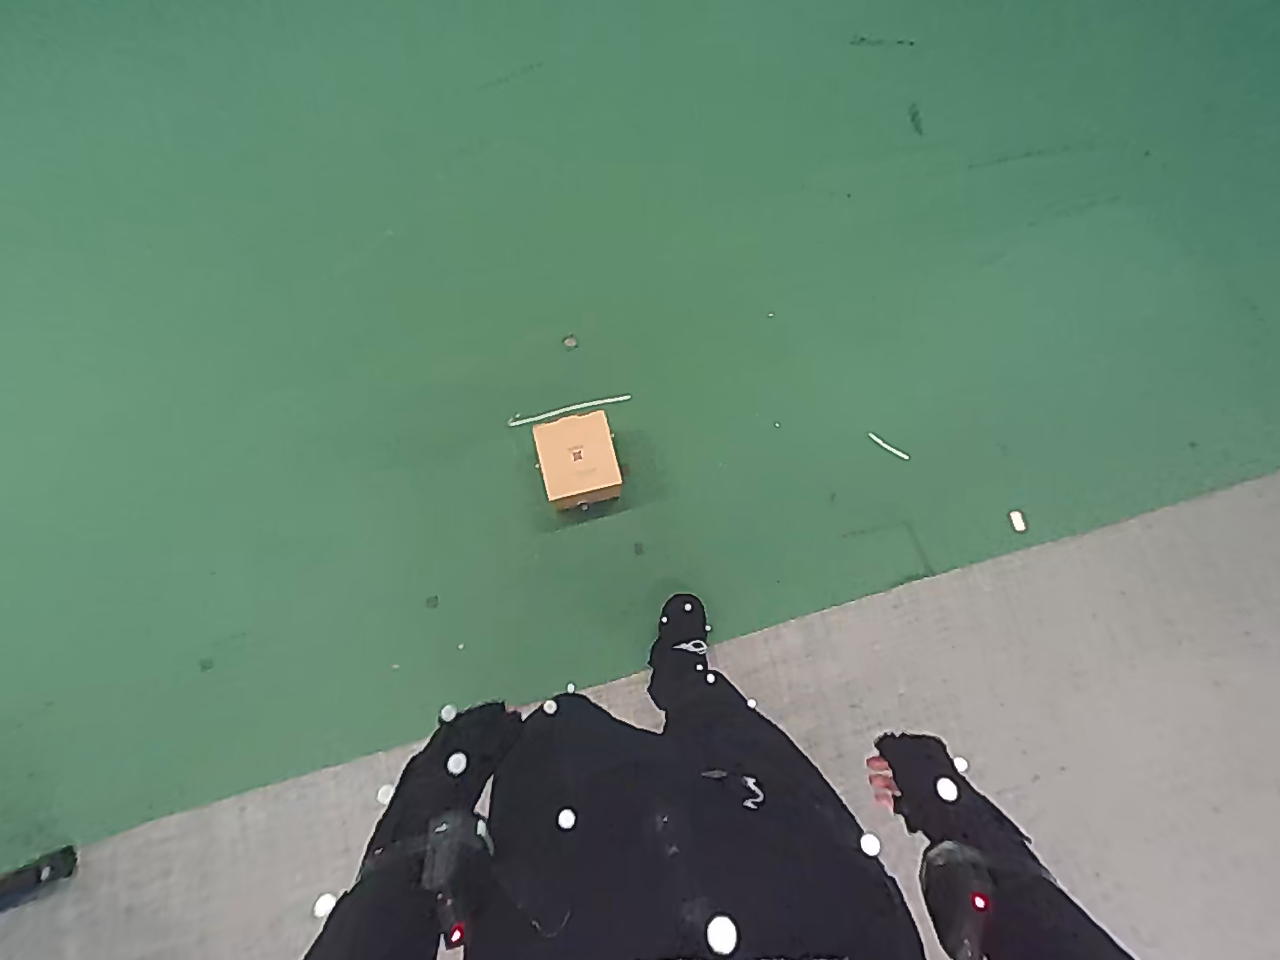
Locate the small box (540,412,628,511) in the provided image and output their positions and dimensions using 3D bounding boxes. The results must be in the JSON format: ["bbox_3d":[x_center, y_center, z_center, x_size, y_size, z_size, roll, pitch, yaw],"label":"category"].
[{"bbox_3d":[-0.130,-0.037,1.269,0.168,0.176,0.179,-14,80,-5],"label":"small box"}]
